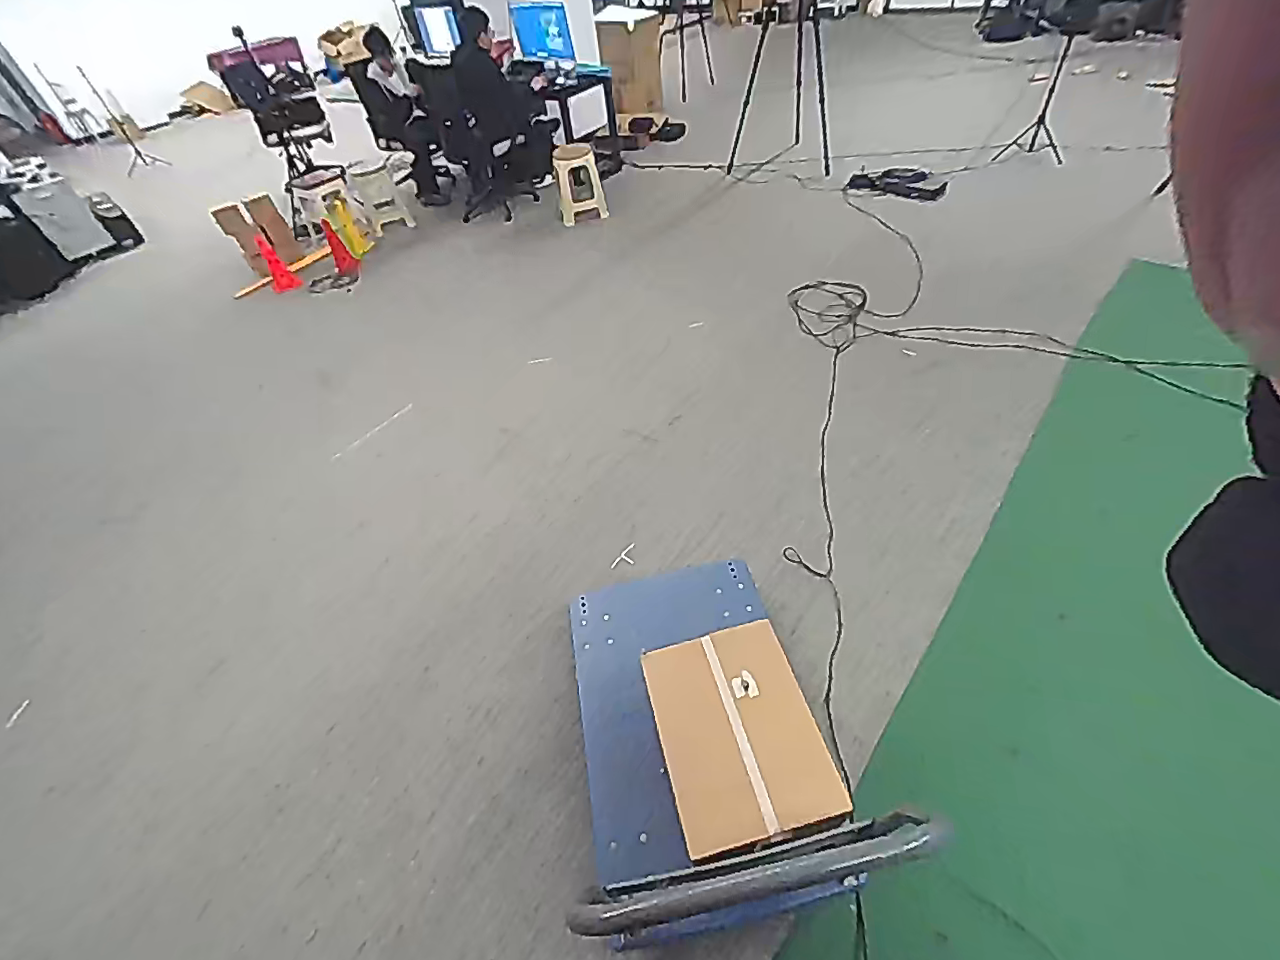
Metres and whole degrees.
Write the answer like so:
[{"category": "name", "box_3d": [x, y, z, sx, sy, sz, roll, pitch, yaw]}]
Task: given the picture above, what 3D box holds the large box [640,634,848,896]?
[{"category": "large box", "box_3d": [0.211, 0.634, 1.222, 0.320, 0.320, 0.408, -14, 45, -5]}]
